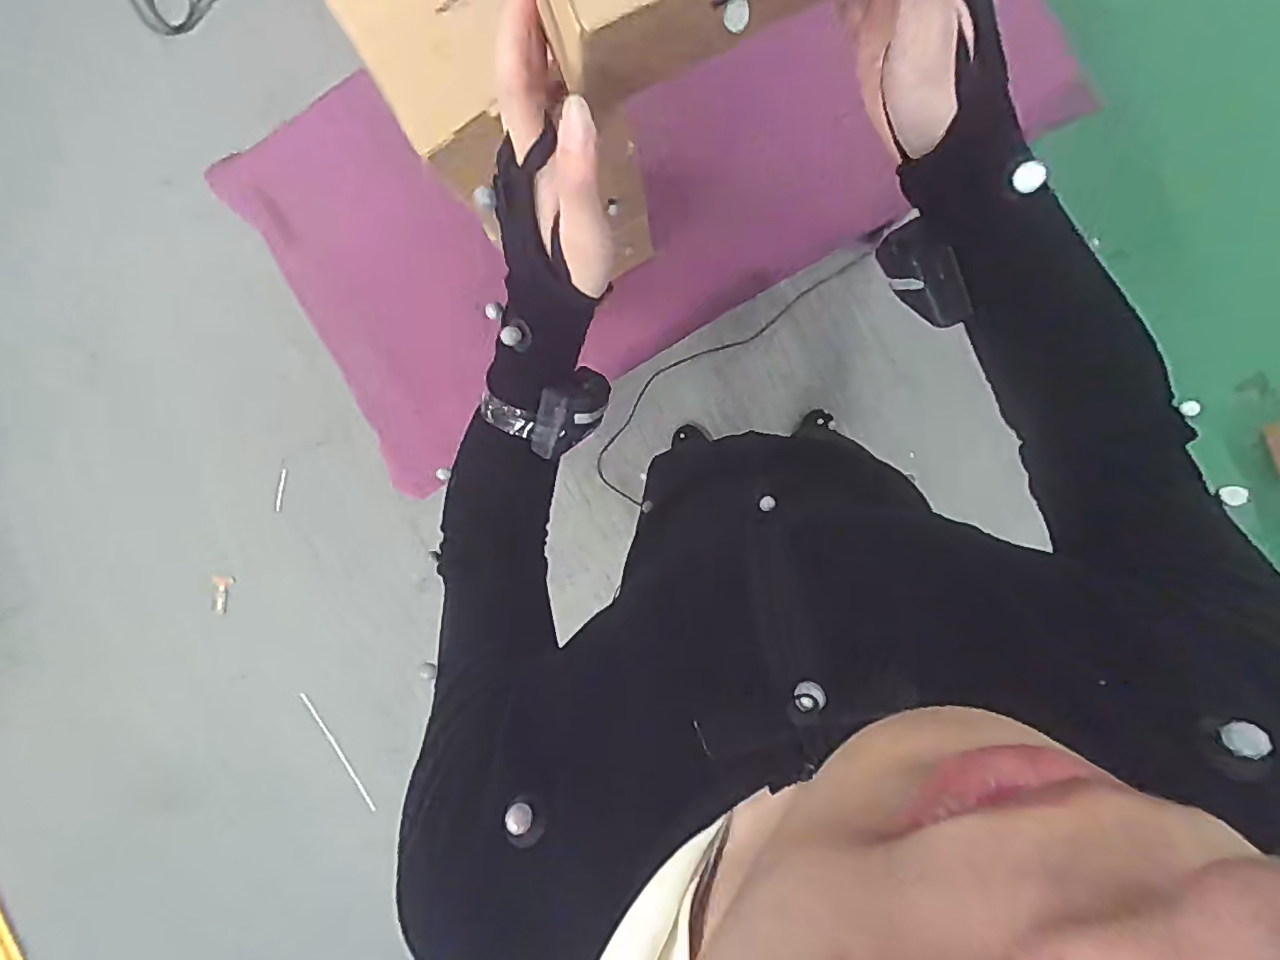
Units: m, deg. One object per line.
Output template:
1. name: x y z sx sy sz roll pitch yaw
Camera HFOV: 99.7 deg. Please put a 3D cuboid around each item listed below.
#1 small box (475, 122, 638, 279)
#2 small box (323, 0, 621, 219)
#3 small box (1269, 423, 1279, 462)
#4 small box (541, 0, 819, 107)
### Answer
1. small box: -0.113 -0.367 0.630 0.179 0.176 0.168 -29 92 7
2. small box: -0.131 -0.357 0.468 0.168 0.176 0.179 -30 92 7
3. small box: 1.795 -0.083 1.375 0.168 0.176 0.179 -26 94 7
4. small box: 0.019 -0.303 0.242 0.179 0.176 0.168 -23 115 4
